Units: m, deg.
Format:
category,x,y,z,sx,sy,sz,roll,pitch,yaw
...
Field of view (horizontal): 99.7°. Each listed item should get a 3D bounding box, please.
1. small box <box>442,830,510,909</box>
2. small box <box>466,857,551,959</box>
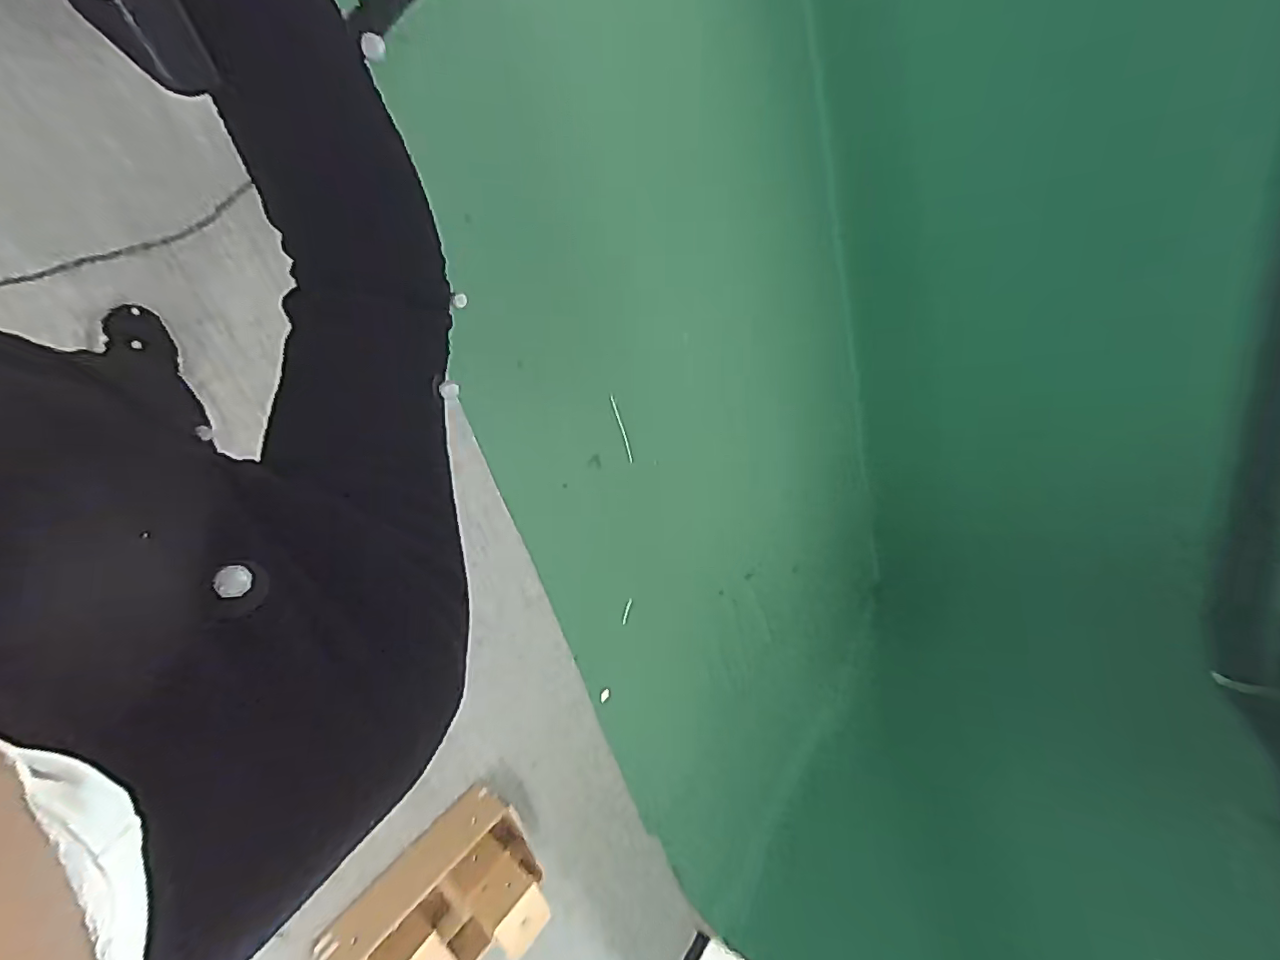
category,x,y,z,sx,sy,sz,roll,pitch,yaw
small box,-0.536,1.329,1.824,0.168,0.176,0.179,-36,120,-39
small box,-0.420,1.342,1.711,0.168,0.176,0.179,-37,120,-39
